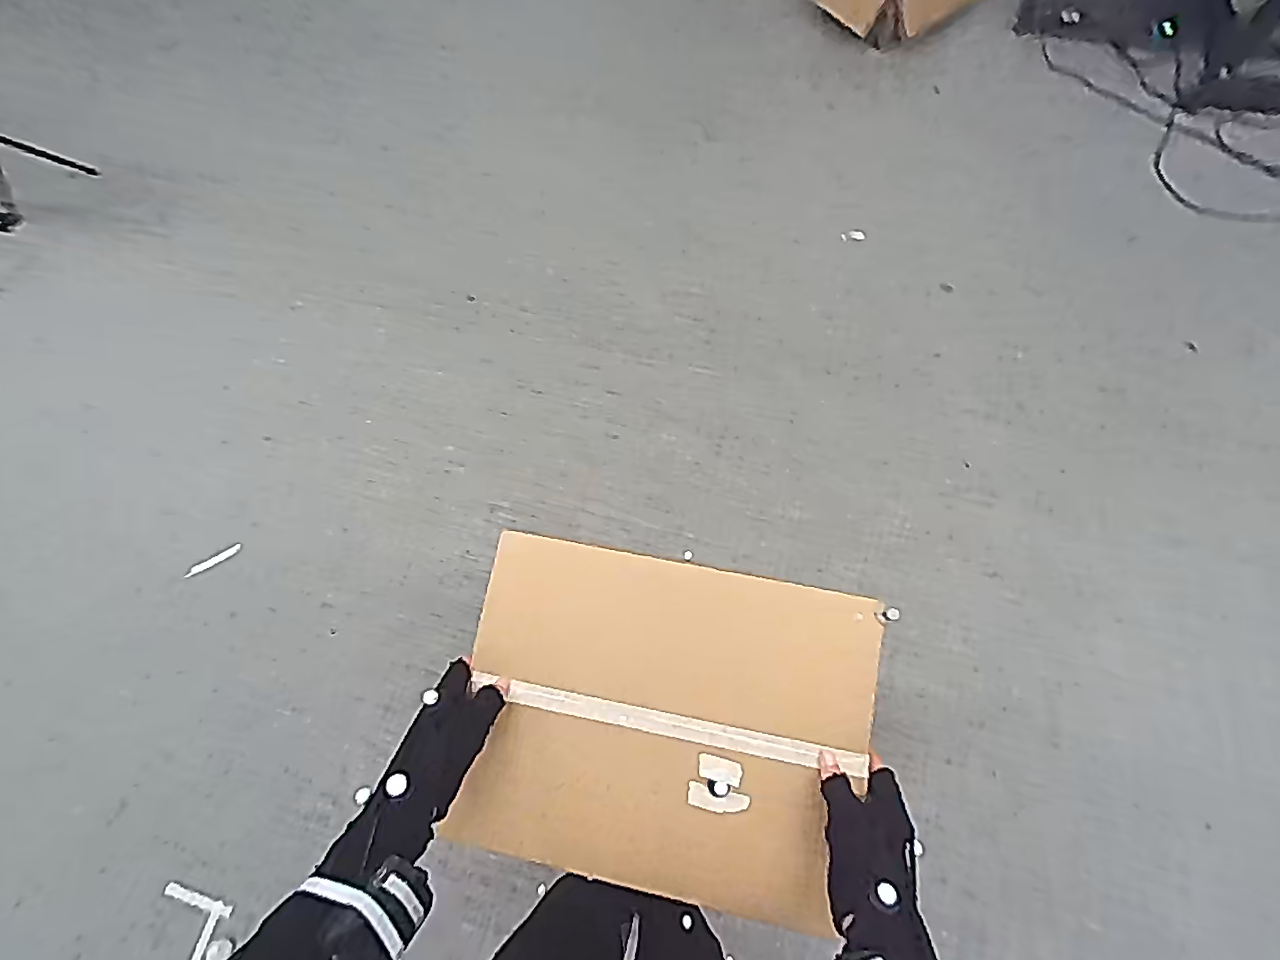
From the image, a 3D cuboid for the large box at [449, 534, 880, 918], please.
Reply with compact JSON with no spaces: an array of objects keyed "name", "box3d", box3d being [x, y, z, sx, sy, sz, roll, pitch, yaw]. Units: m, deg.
[{"name":"large box","box3d":[0.034,0.257,0.692,0.408,0.320,0.320,10,83,6]}]
